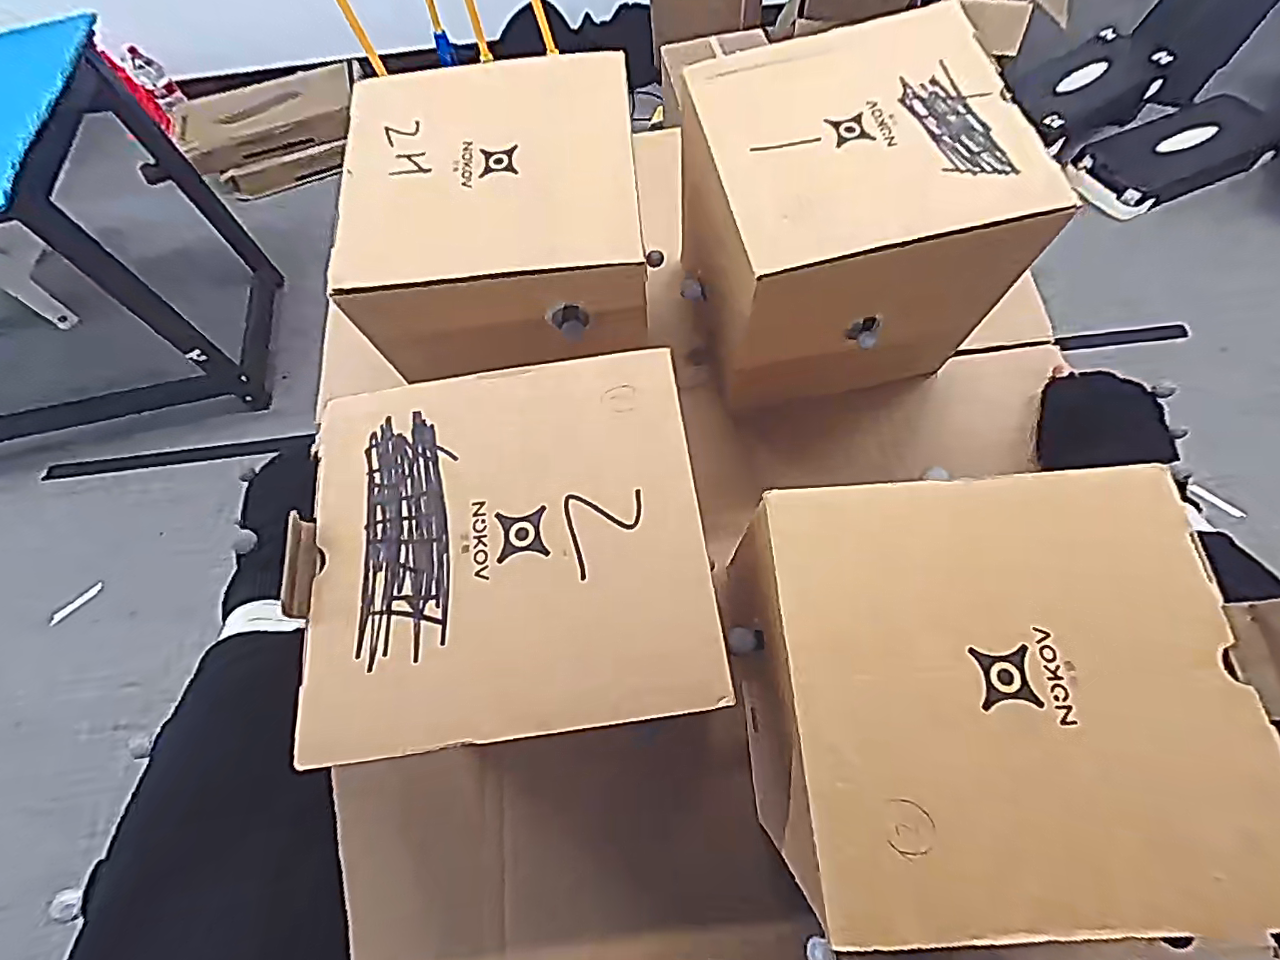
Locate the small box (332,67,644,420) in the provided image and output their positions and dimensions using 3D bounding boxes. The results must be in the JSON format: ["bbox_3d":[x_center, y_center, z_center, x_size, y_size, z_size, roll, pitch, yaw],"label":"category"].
[{"bbox_3d":[-0.089,-0.157,0.403,0.179,0.176,0.168,-5,70,3],"label":"small box"}]
